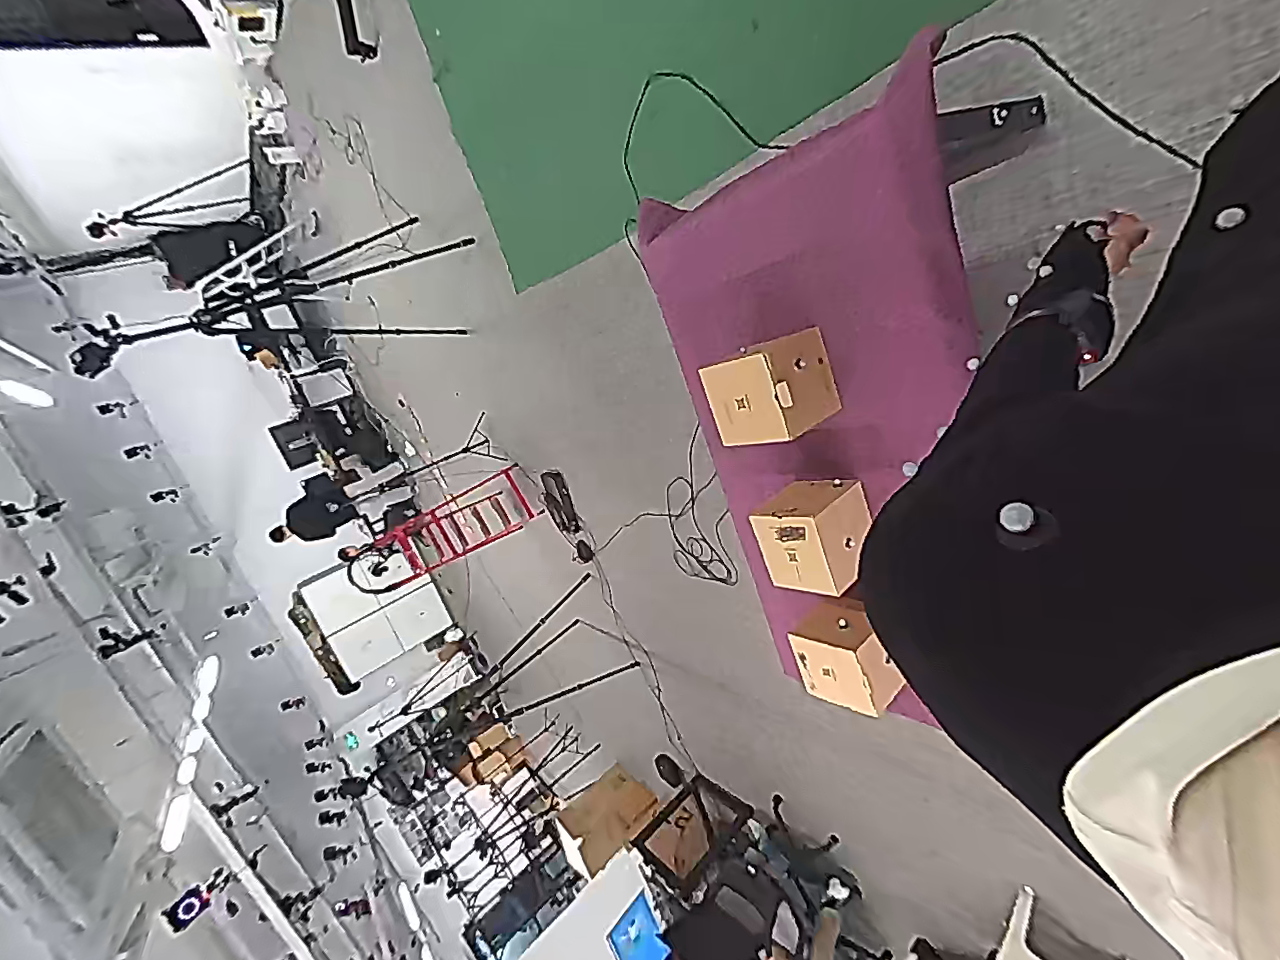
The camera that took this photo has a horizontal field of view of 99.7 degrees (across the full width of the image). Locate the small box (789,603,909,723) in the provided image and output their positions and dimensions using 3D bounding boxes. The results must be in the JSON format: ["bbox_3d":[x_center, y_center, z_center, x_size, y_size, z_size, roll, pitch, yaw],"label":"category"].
[{"bbox_3d":[0.466,0.389,1.188,0.179,0.176,0.168,-3,111,55],"label":"small box"}]

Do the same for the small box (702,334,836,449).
[{"bbox_3d":[0.258,-0.170,1.053,0.179,0.176,0.168,-1,113,55],"label":"small box"}]

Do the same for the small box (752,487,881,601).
[{"bbox_3d":[0.368,0.122,1.122,0.168,0.176,0.179,-2,113,55],"label":"small box"}]
